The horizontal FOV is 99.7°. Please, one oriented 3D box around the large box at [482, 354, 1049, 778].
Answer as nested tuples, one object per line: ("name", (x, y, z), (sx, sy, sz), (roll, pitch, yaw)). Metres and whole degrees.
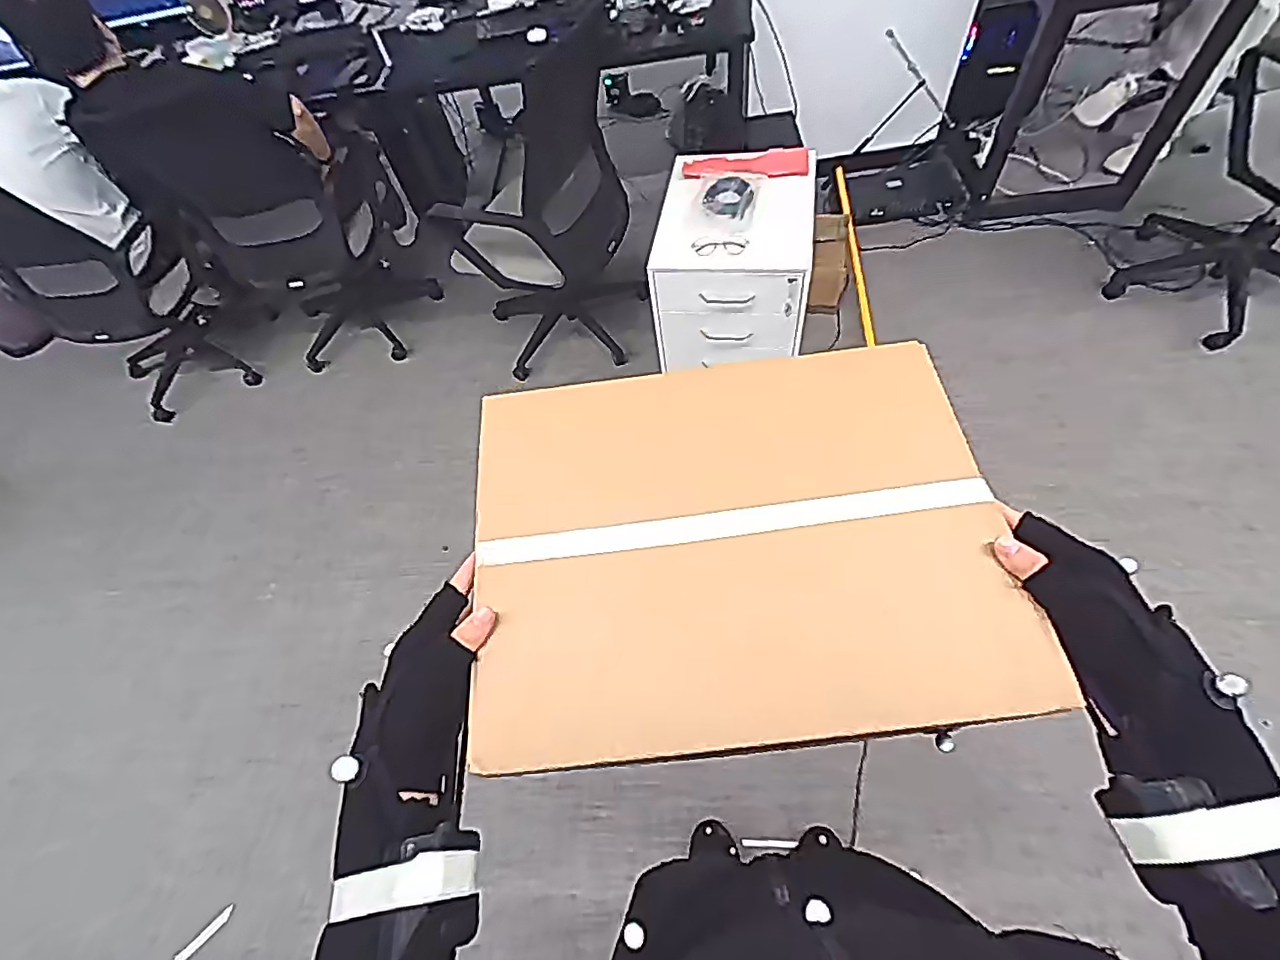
("large box", (0.083, 0.110, 0.571), (0.408, 0.320, 0.320), (-8, 62, 2))
